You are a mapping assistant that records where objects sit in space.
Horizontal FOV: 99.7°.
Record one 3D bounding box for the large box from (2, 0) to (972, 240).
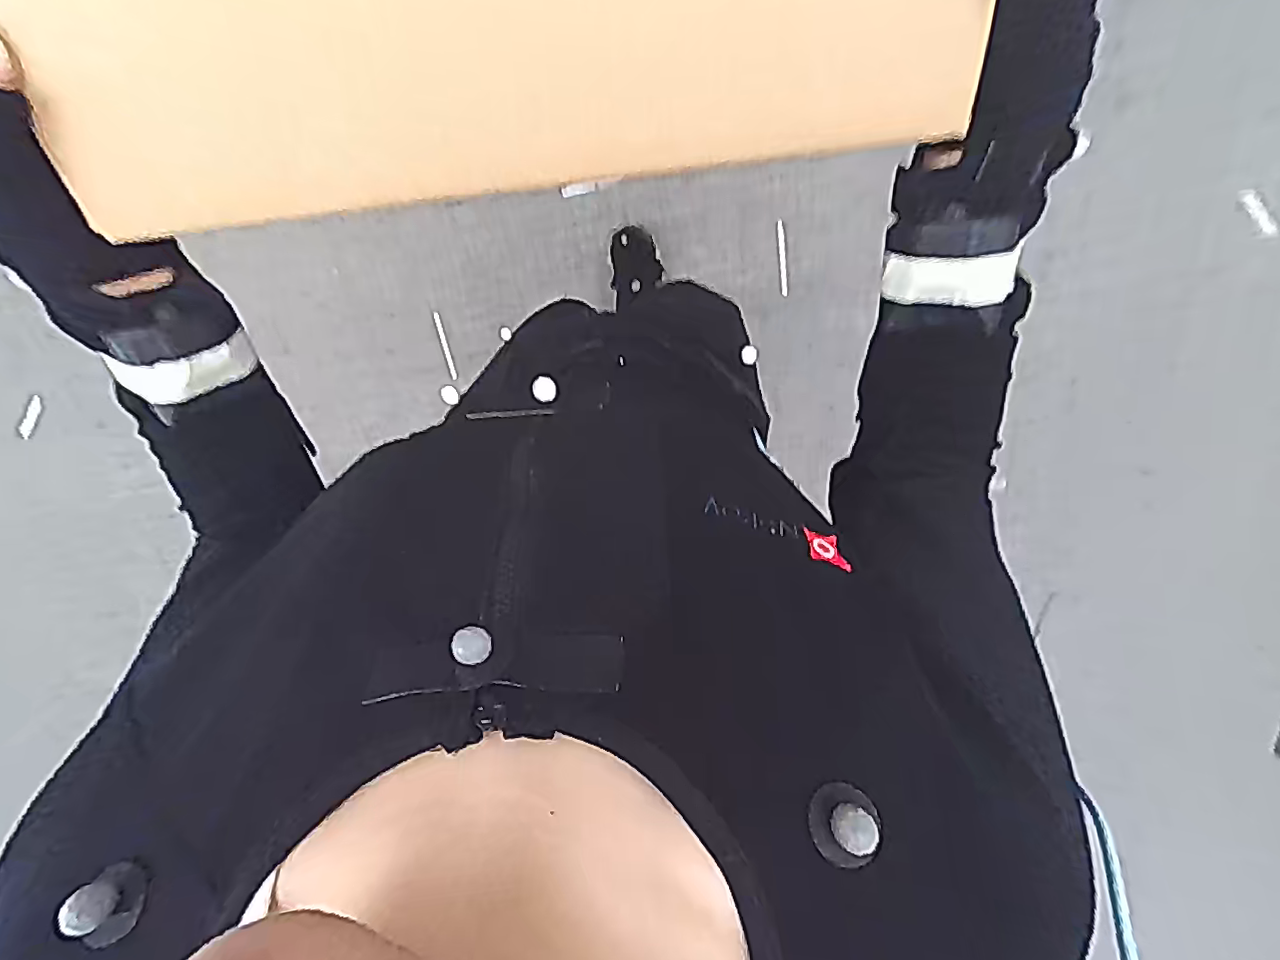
[{"bbox_3d":[-0.075,-0.352,0.302,0.408,0.320,0.320,-6,125,2],"label":"large box"}]
